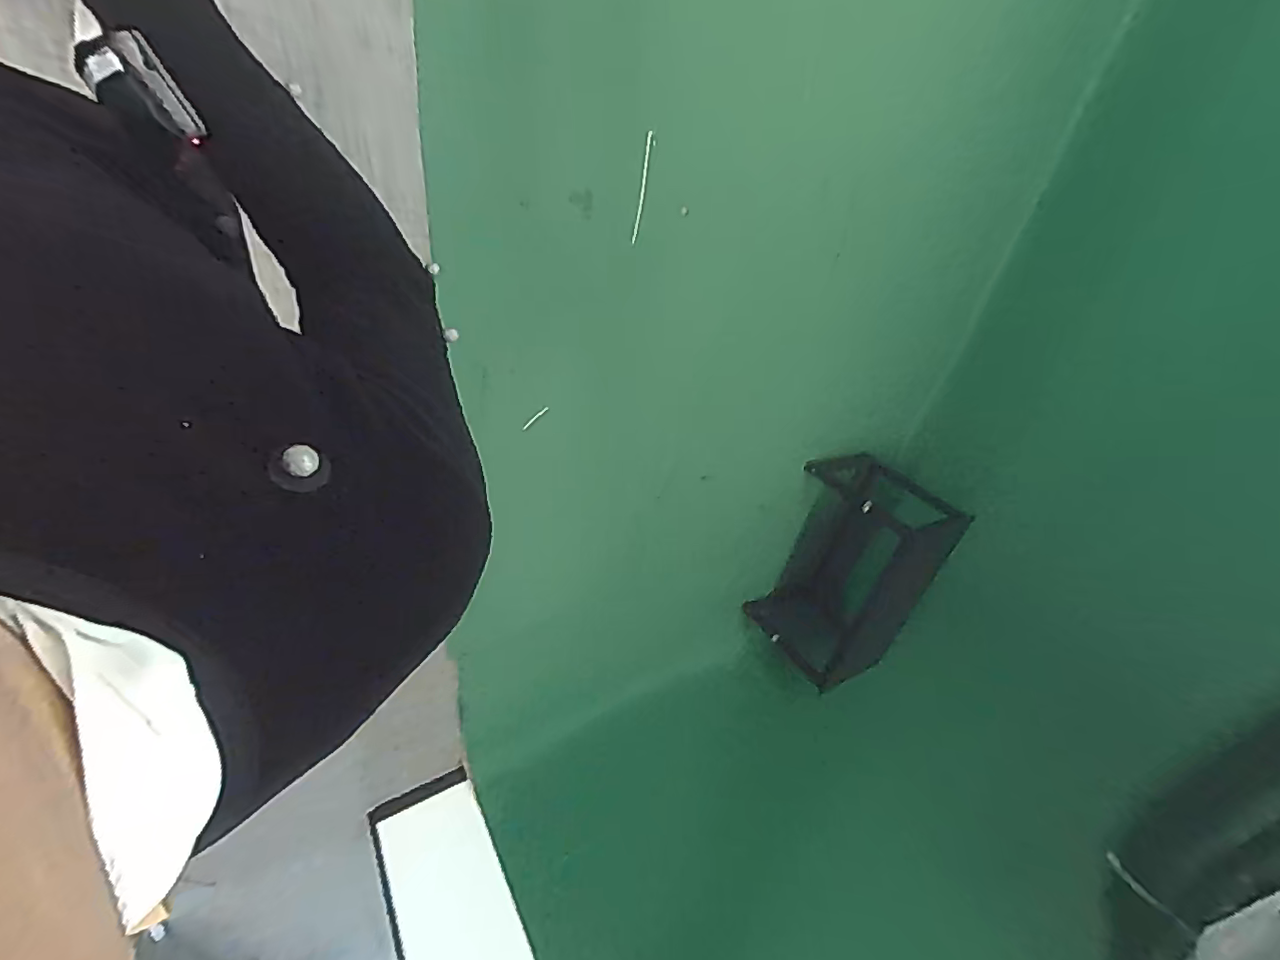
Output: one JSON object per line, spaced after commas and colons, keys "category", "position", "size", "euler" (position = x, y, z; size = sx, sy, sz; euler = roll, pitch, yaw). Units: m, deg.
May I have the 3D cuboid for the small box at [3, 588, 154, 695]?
{"category": "small box", "position": [-1.094, 0.344, 1.073], "size": [0.168, 0.176, 0.179], "euler": [-9, 130, -34]}

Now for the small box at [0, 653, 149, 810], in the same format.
{"category": "small box", "position": [-1.009, 0.434, 0.967], "size": [0.168, 0.176, 0.179], "euler": [-8, 128, -33]}
